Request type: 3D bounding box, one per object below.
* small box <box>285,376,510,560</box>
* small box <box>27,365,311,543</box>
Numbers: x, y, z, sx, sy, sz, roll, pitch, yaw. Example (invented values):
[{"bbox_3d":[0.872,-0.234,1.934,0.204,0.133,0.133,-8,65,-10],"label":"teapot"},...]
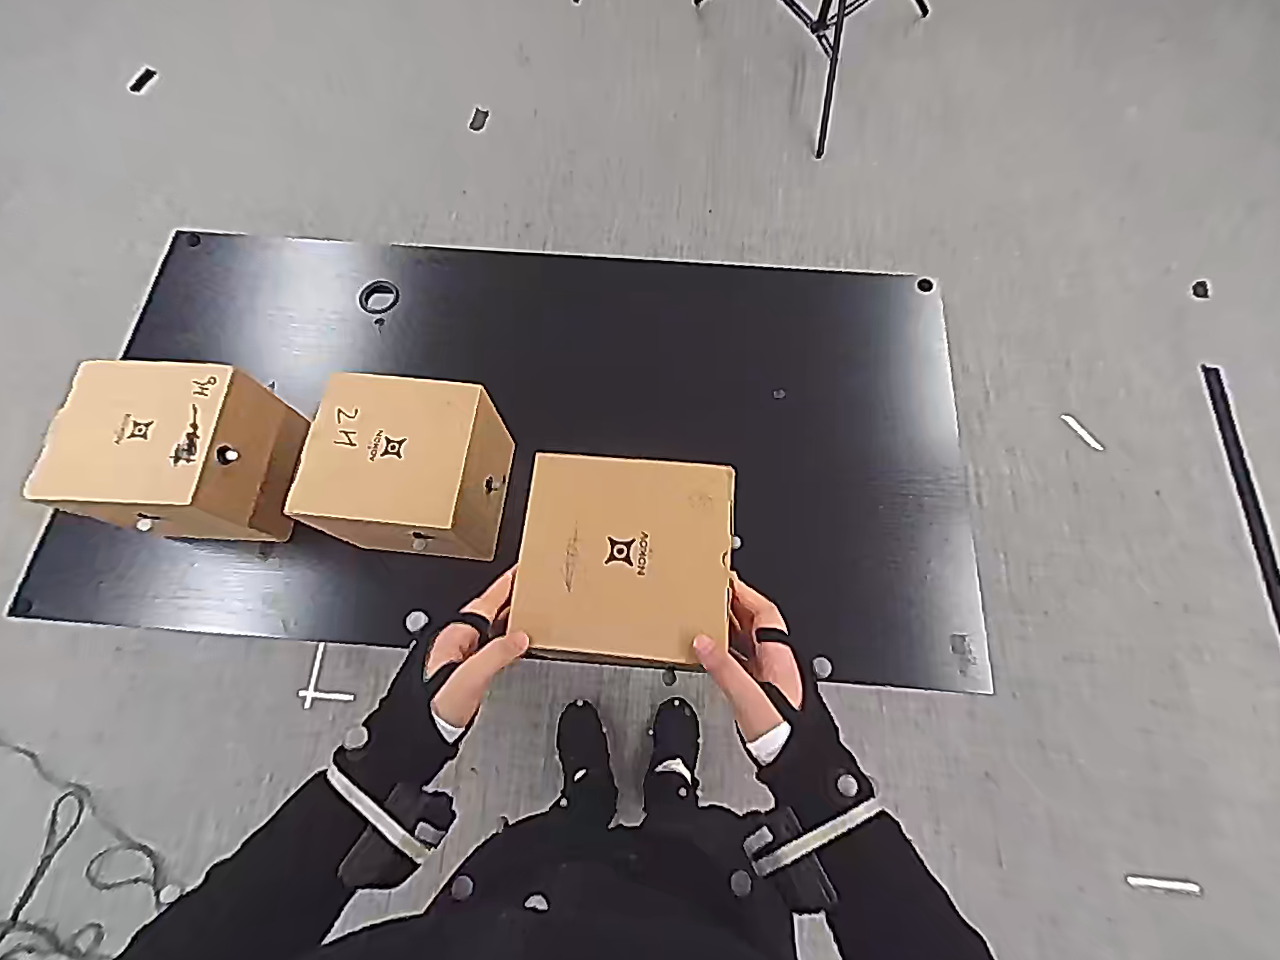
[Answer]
[{"bbox_3d":[-0.267,-0.004,0.646,0.179,0.176,0.168,5,70,2],"label":"small box"},{"bbox_3d":[-0.539,-0.022,0.654,0.179,0.176,0.168,2,71,1],"label":"small box"}]
